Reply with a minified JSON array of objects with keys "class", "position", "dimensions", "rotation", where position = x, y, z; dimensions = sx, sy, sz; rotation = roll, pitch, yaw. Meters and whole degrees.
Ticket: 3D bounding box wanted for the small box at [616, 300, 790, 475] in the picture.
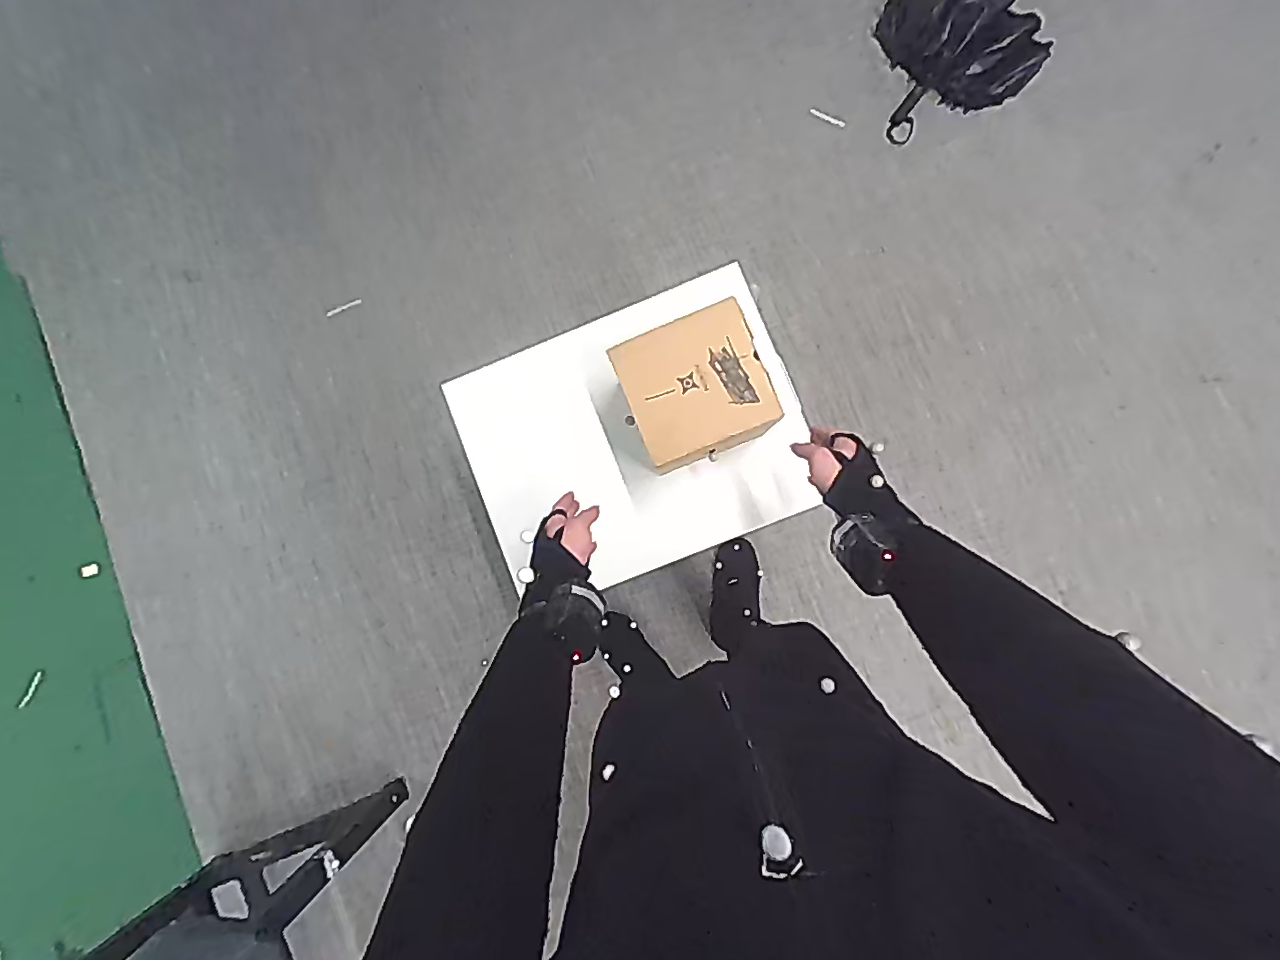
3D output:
[{"class":"small box","position":[0.080,-0.115,0.742],"dimensions":[0.179,0.176,0.168],"rotation":[-21,85,2]}]
